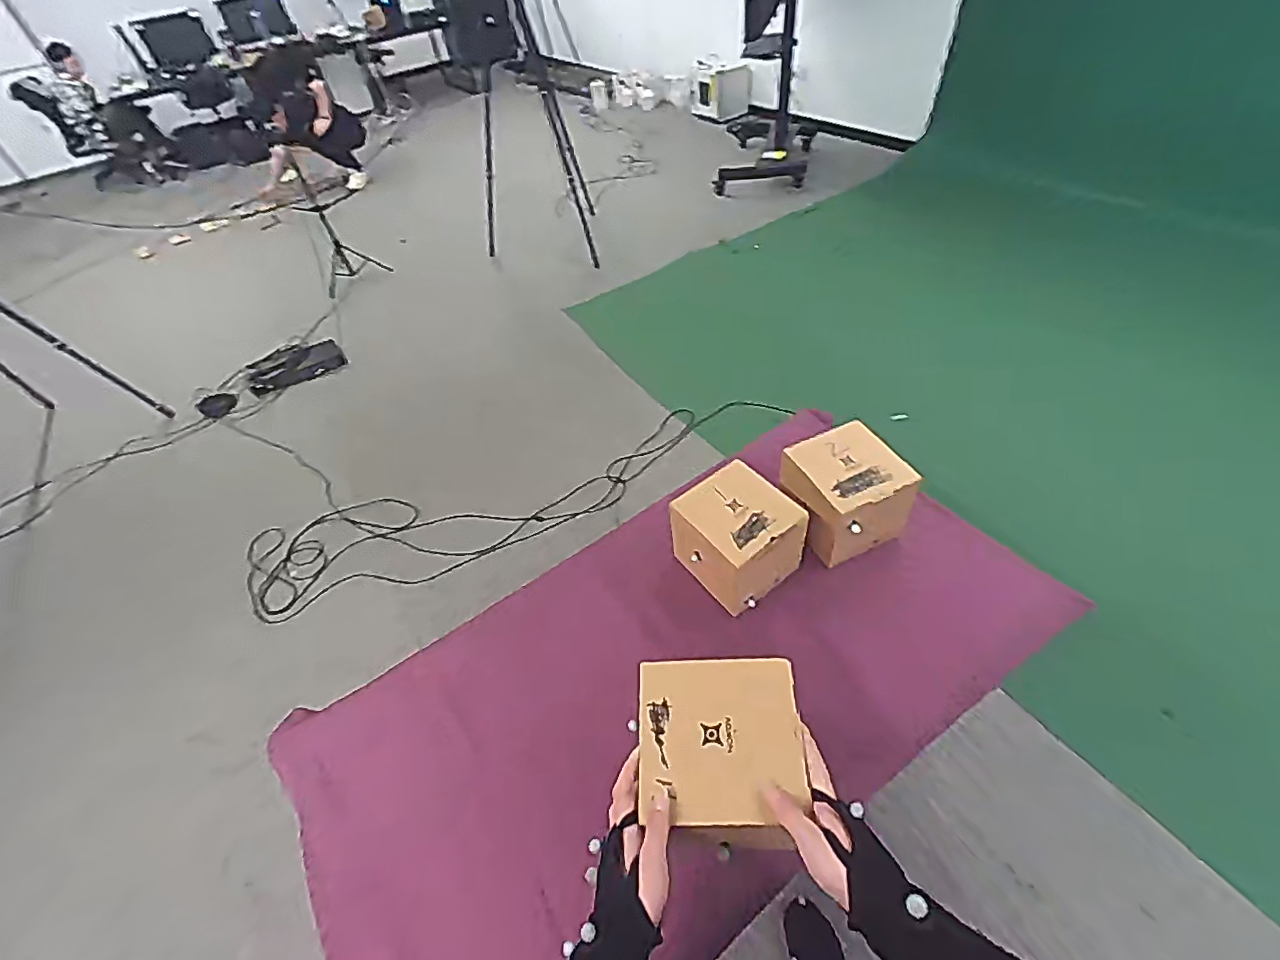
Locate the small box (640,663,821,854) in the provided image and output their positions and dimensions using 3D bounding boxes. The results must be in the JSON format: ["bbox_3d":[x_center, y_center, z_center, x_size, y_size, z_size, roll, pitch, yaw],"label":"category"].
[{"bbox_3d":[0.096,0.326,0.630,0.179,0.176,0.168,-2,50,5],"label":"small box"}]
